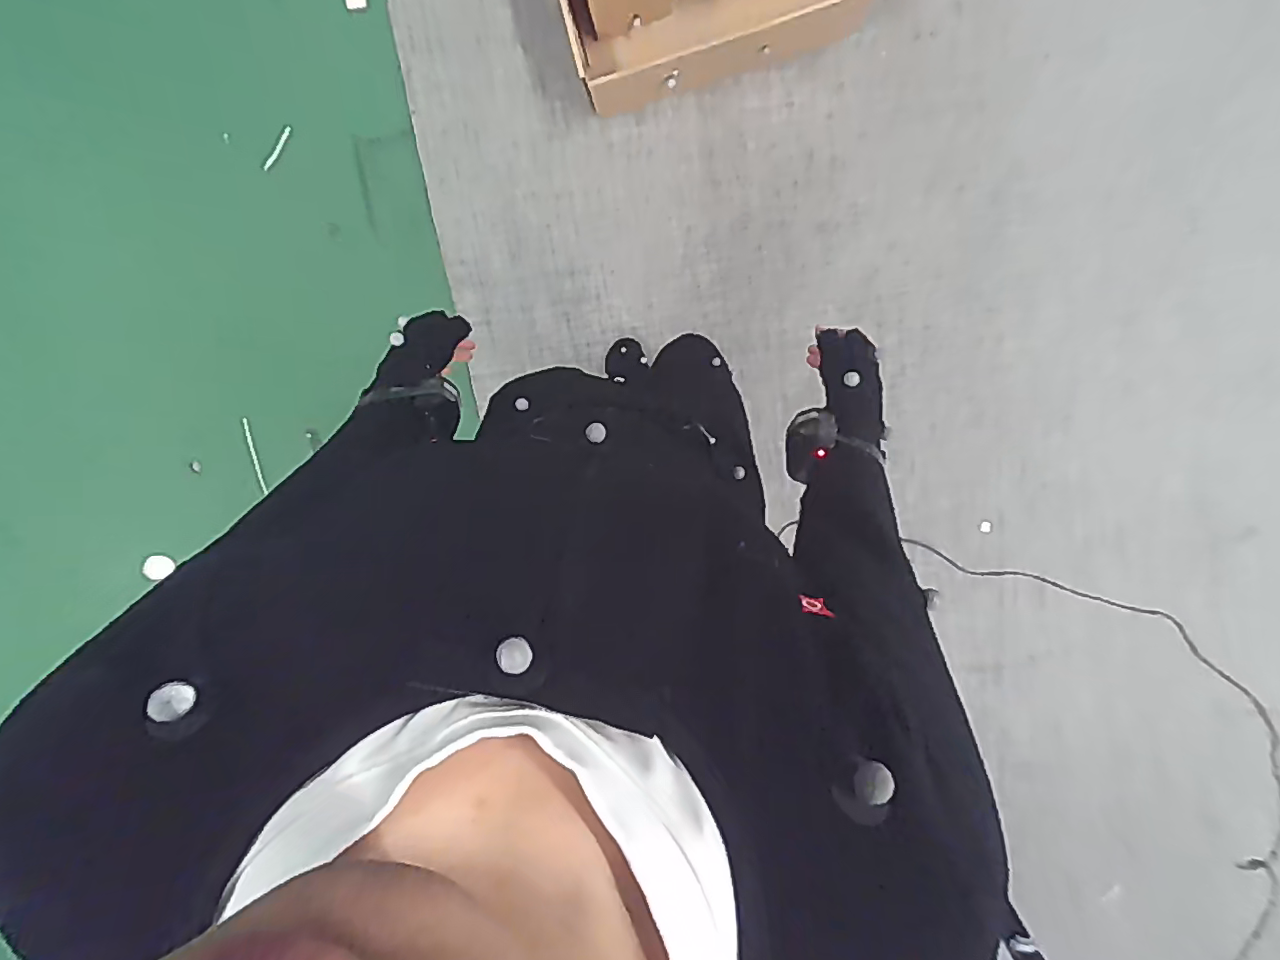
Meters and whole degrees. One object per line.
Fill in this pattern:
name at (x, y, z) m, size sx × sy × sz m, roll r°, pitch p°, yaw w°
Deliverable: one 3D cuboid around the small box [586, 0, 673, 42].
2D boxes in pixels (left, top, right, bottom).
small box at (-0.032, -1.023, 1.067) m, size 0.179 × 0.176 × 0.168 m, roll -17°, pitch 102°, yaw 6°
